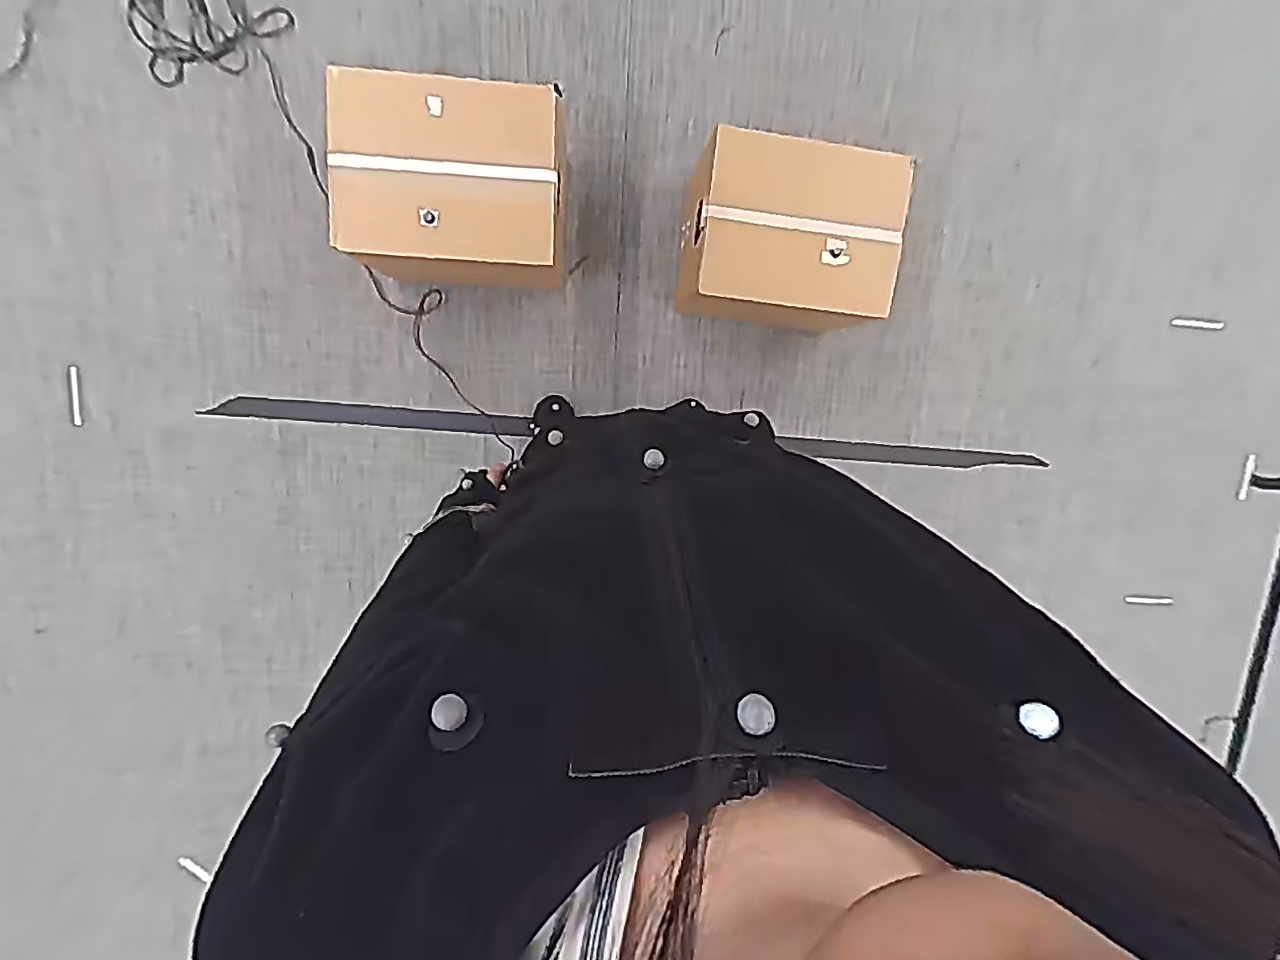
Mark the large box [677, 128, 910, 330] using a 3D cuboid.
[{"bbox_3d":[0.314,-0.533,1.224,0.408,0.320,0.320,6,99,-7],"label":"large box"}]
